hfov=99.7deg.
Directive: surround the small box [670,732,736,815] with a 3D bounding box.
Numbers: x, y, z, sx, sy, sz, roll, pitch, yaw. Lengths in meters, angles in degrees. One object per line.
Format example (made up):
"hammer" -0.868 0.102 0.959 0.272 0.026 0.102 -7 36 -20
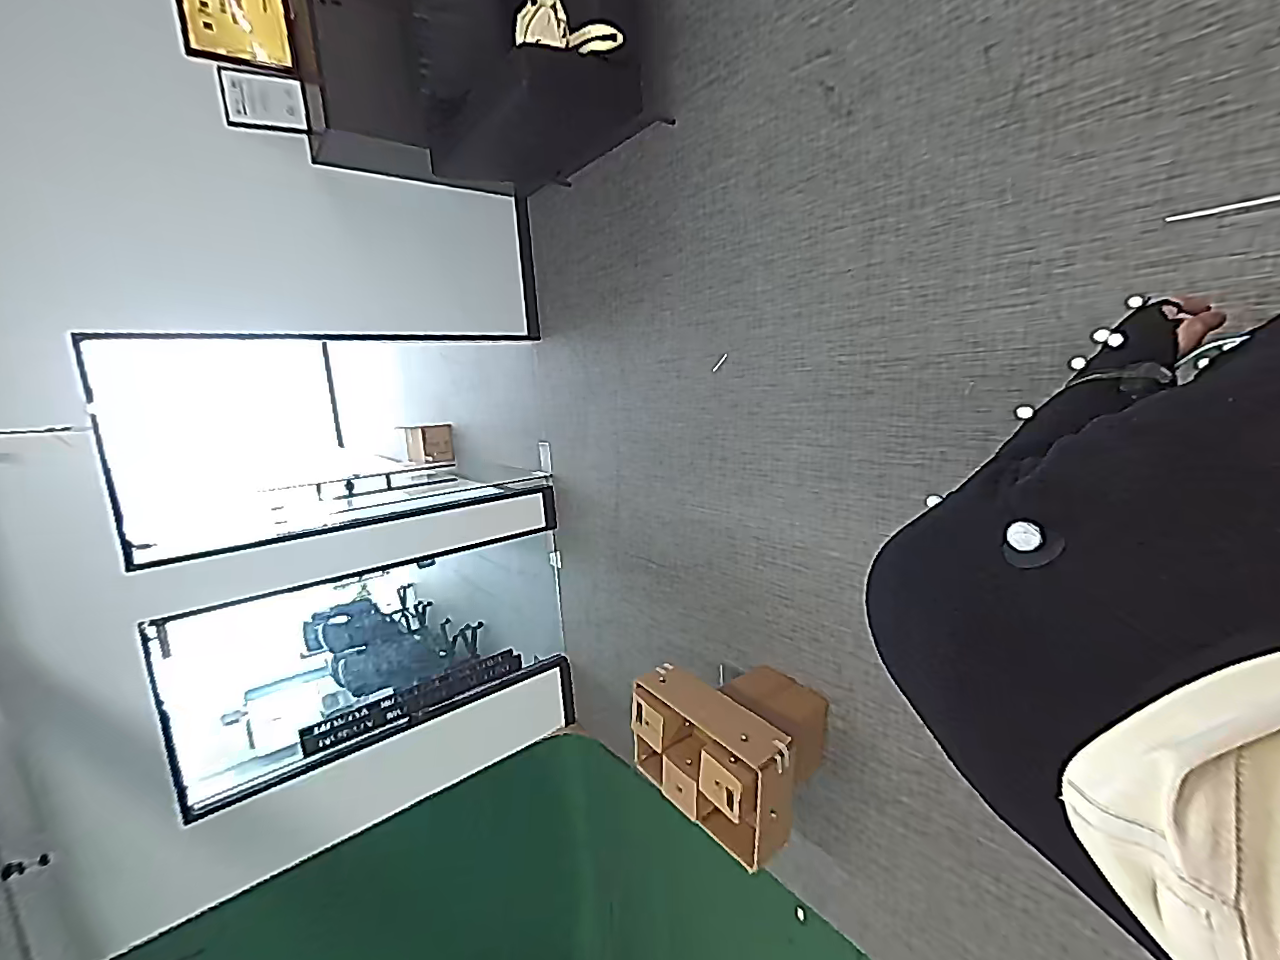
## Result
"small box" 0.228 1.048 1.953 0.179 0.176 0.168 16 111 49
